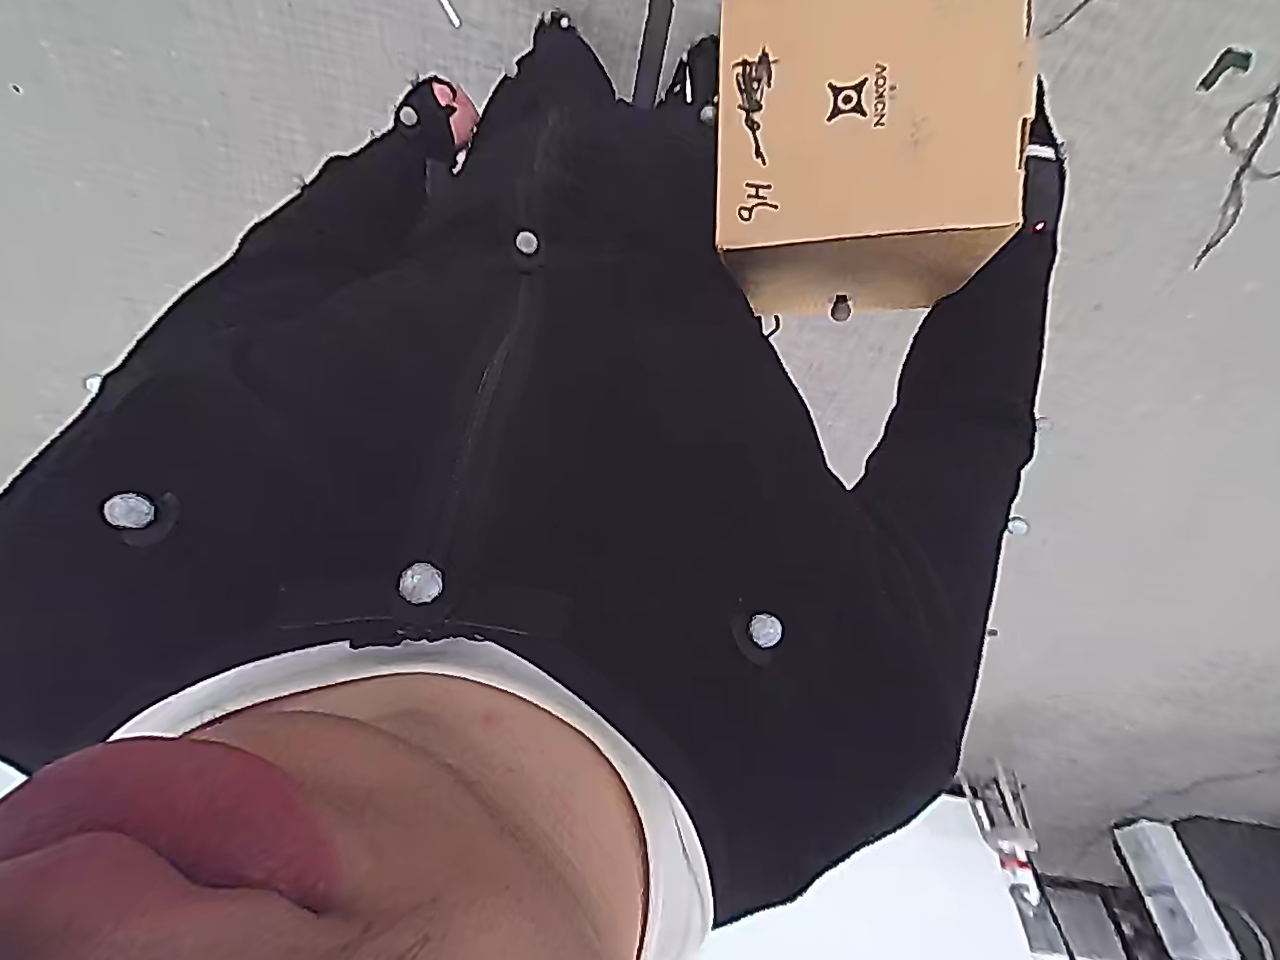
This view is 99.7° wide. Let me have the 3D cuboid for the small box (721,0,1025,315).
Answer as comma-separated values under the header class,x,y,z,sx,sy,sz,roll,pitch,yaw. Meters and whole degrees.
class,x,y,z,sx,sy,sz,roll,pitch,yaw
small box,0.161,-0.233,0.419,0.179,0.176,0.168,2,92,15
